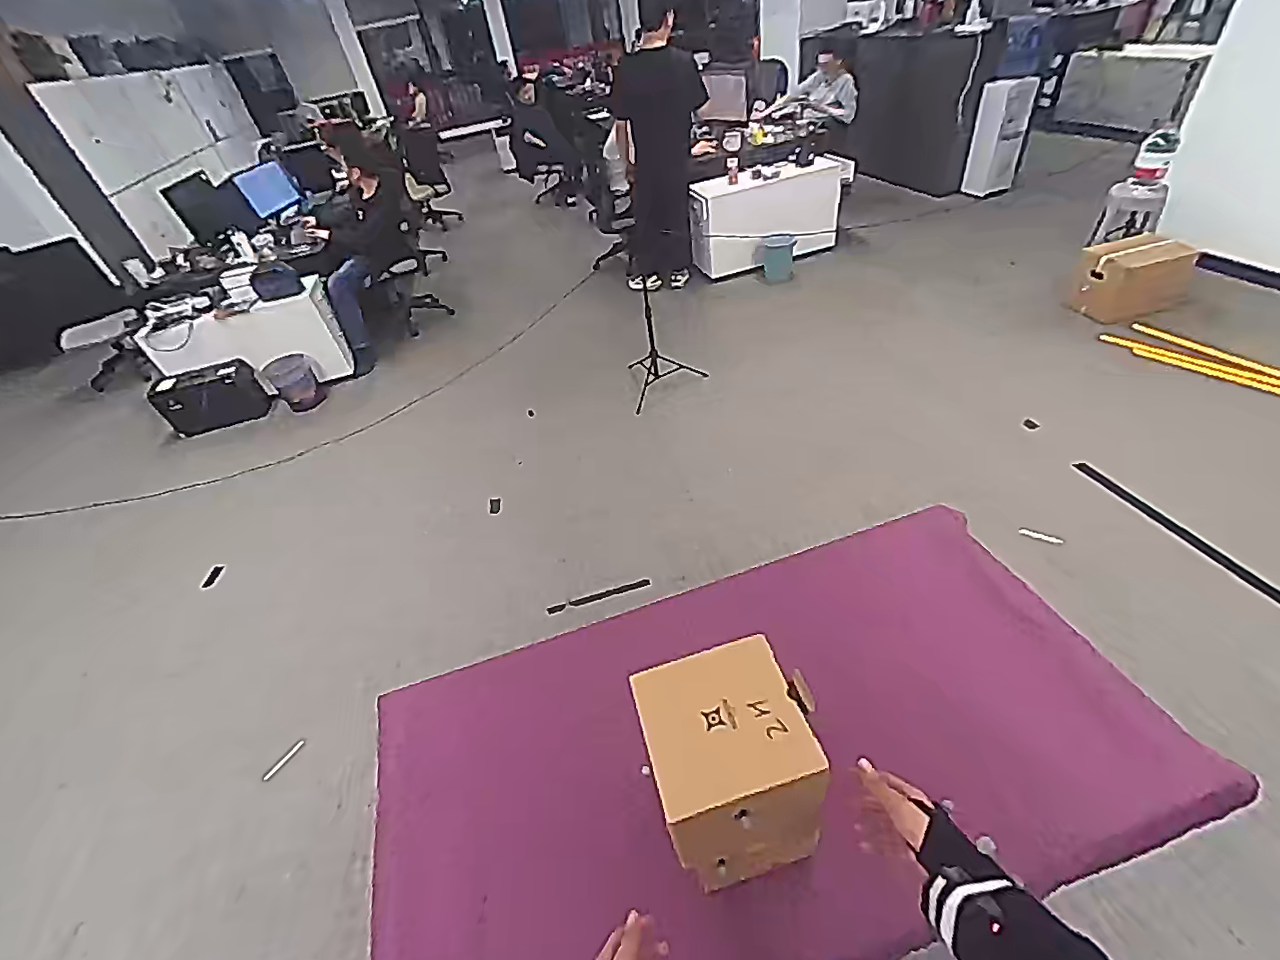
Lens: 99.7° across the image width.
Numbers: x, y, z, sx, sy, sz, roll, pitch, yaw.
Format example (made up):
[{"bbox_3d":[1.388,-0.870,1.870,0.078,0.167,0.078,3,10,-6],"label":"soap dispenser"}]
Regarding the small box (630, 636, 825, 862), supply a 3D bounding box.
[{"bbox_3d":[0.101,0.324,0.650,0.179,0.176,0.168,-16,41,-5],"label":"small box"}]
